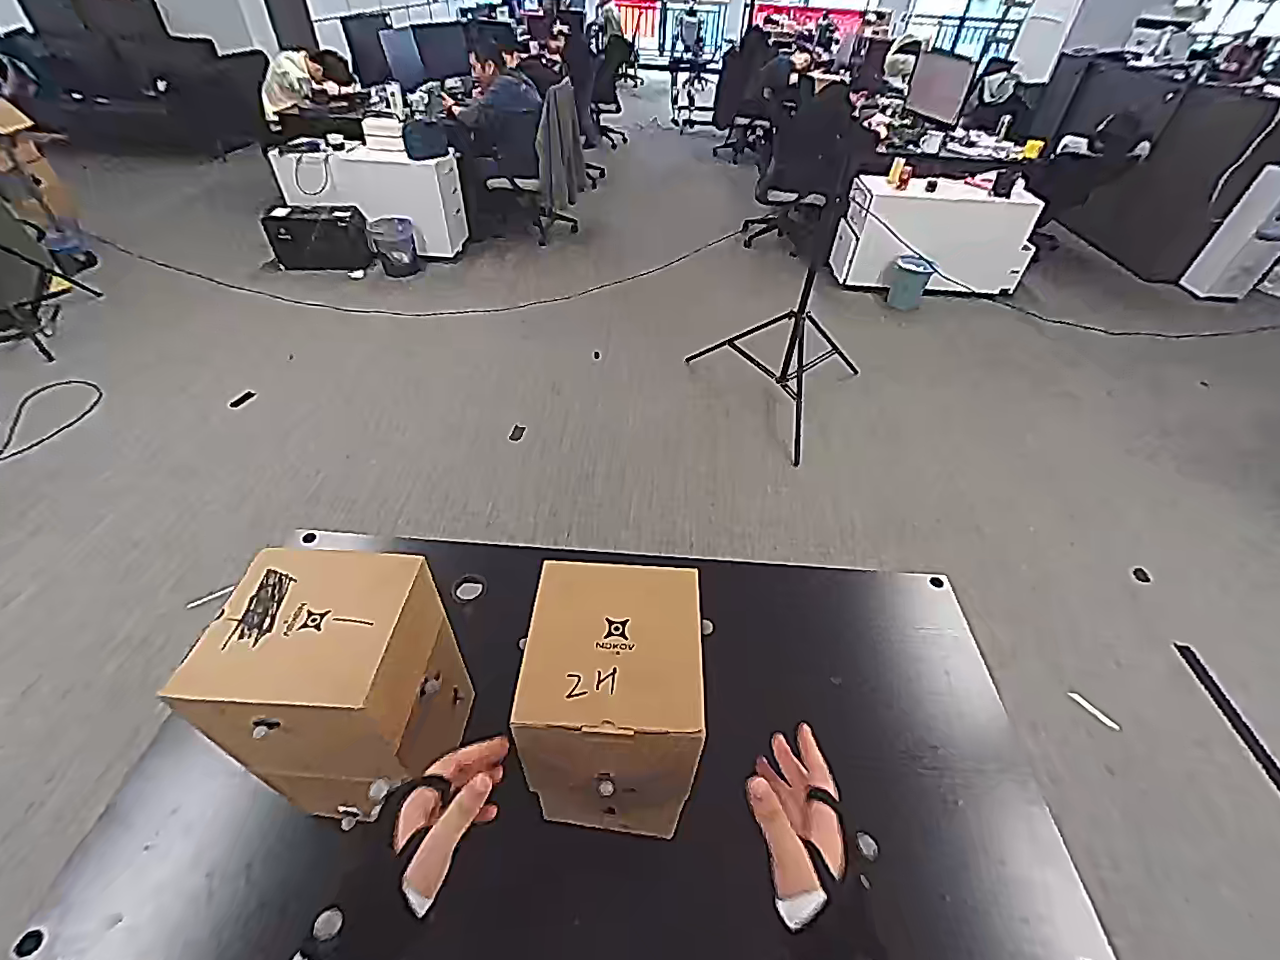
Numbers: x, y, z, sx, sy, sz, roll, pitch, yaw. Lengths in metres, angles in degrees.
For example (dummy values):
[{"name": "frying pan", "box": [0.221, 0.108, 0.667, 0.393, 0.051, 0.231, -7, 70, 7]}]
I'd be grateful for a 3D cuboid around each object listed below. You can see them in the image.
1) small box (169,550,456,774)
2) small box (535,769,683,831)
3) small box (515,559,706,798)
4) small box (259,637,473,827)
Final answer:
[{"name": "small box", "box": [-0.316, 0.192, 0.570, 0.179, 0.176, 0.168, 3, 43, 0]}, {"name": "small box", "box": [-0.024, 0.322, 0.690, 0.168, 0.176, 0.179, 6, 44, 3]}, {"name": "small box", "box": [-0.025, 0.207, 0.569, 0.168, 0.176, 0.179, 3, 43, 1]}, {"name": "small box", "box": [-0.322, 0.311, 0.684, 0.168, 0.176, 0.179, 3, 44, 1]}]
